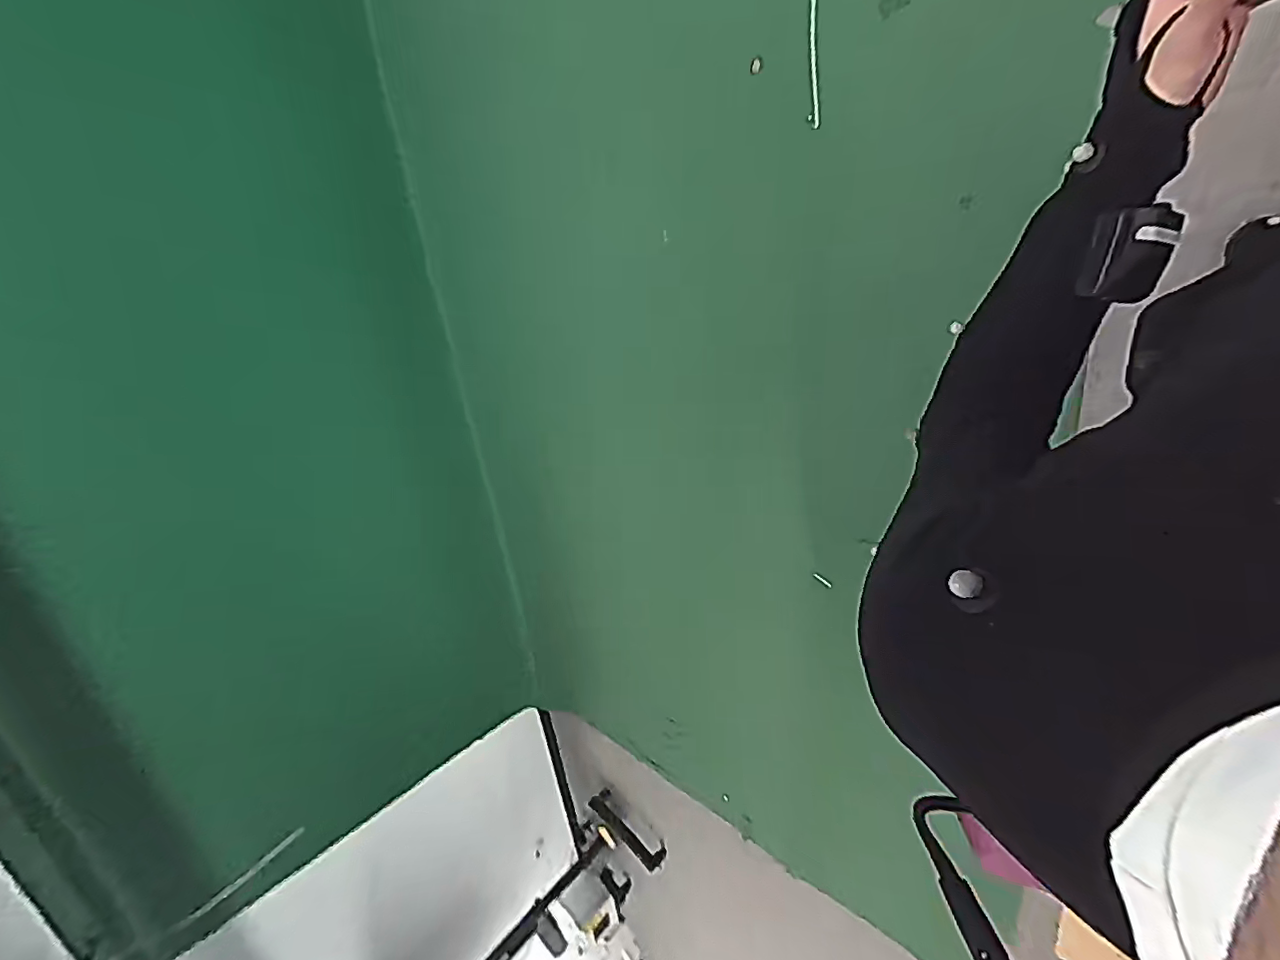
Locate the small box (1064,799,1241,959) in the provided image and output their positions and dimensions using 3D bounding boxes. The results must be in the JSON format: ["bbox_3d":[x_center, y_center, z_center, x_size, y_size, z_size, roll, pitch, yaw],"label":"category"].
[{"bbox_3d":[0.758,0.631,0.803,0.168,0.176,0.179,10,117,44],"label":"small box"}]
